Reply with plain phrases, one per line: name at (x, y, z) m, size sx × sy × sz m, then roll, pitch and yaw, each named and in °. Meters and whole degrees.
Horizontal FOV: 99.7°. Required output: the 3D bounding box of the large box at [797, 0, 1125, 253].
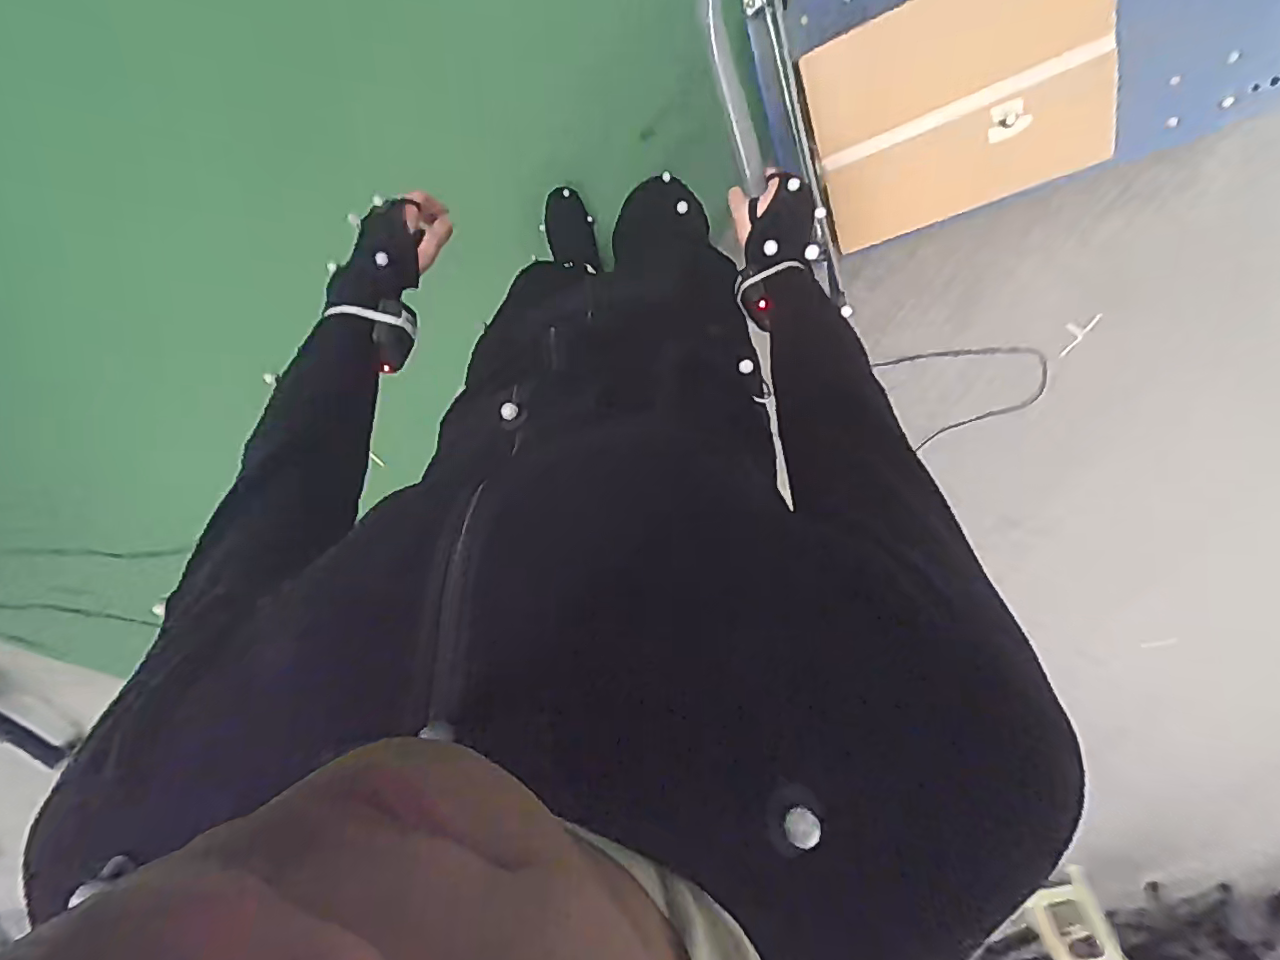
large box at (0.518, -0.652, 0.943) m, size 0.408 × 0.320 × 0.320 m, roll -14°, pitch 121°, yaw 21°
